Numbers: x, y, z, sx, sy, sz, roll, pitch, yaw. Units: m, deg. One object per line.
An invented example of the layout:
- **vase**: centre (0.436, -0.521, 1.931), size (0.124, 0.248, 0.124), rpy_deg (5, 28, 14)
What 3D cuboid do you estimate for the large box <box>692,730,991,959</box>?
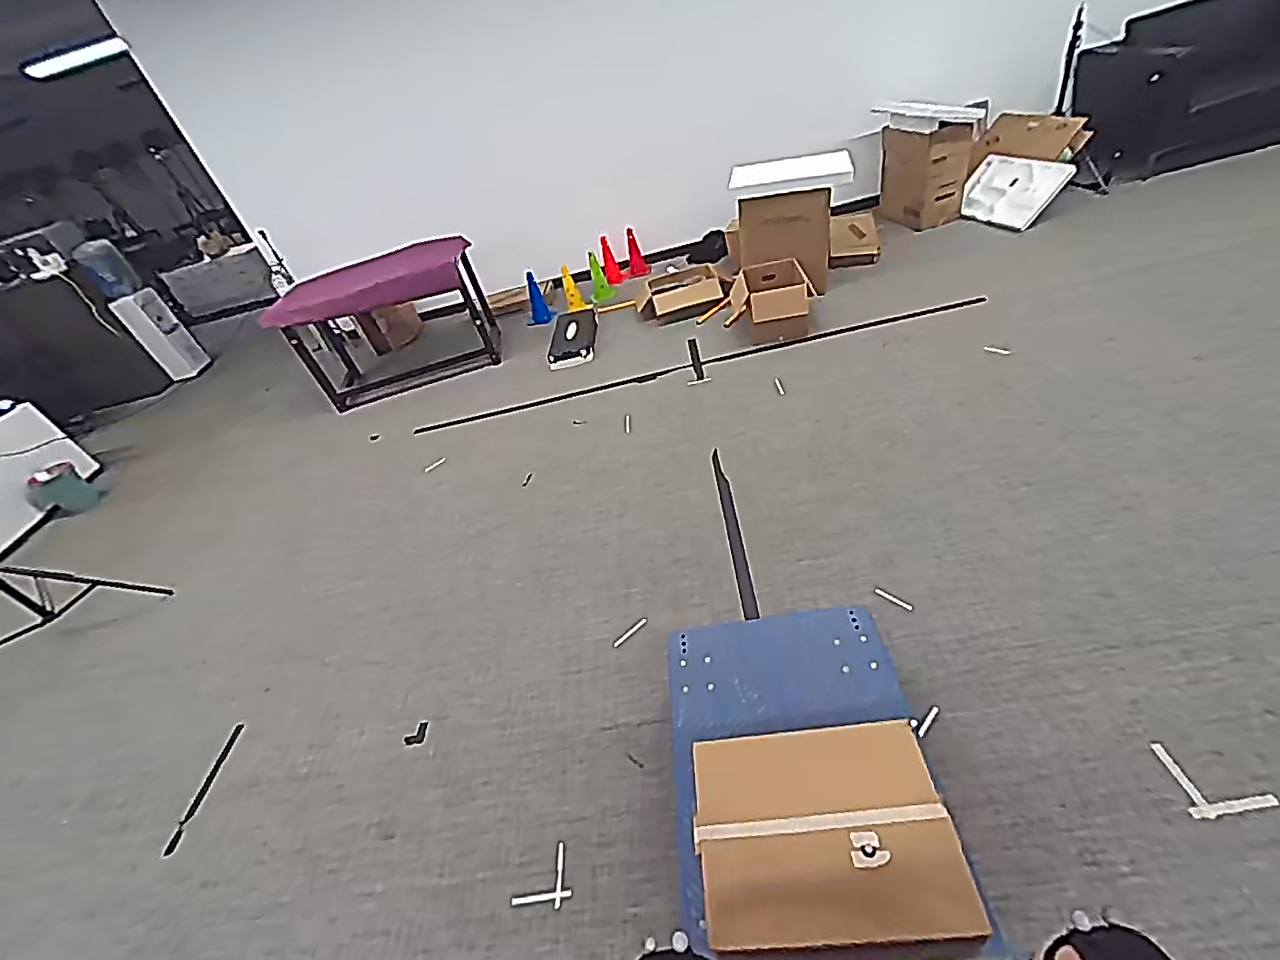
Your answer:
- **large box**: centre (0.325, 0.698, 0.978), size (0.408, 0.320, 0.320), rpy_deg (-10, 39, 7)
